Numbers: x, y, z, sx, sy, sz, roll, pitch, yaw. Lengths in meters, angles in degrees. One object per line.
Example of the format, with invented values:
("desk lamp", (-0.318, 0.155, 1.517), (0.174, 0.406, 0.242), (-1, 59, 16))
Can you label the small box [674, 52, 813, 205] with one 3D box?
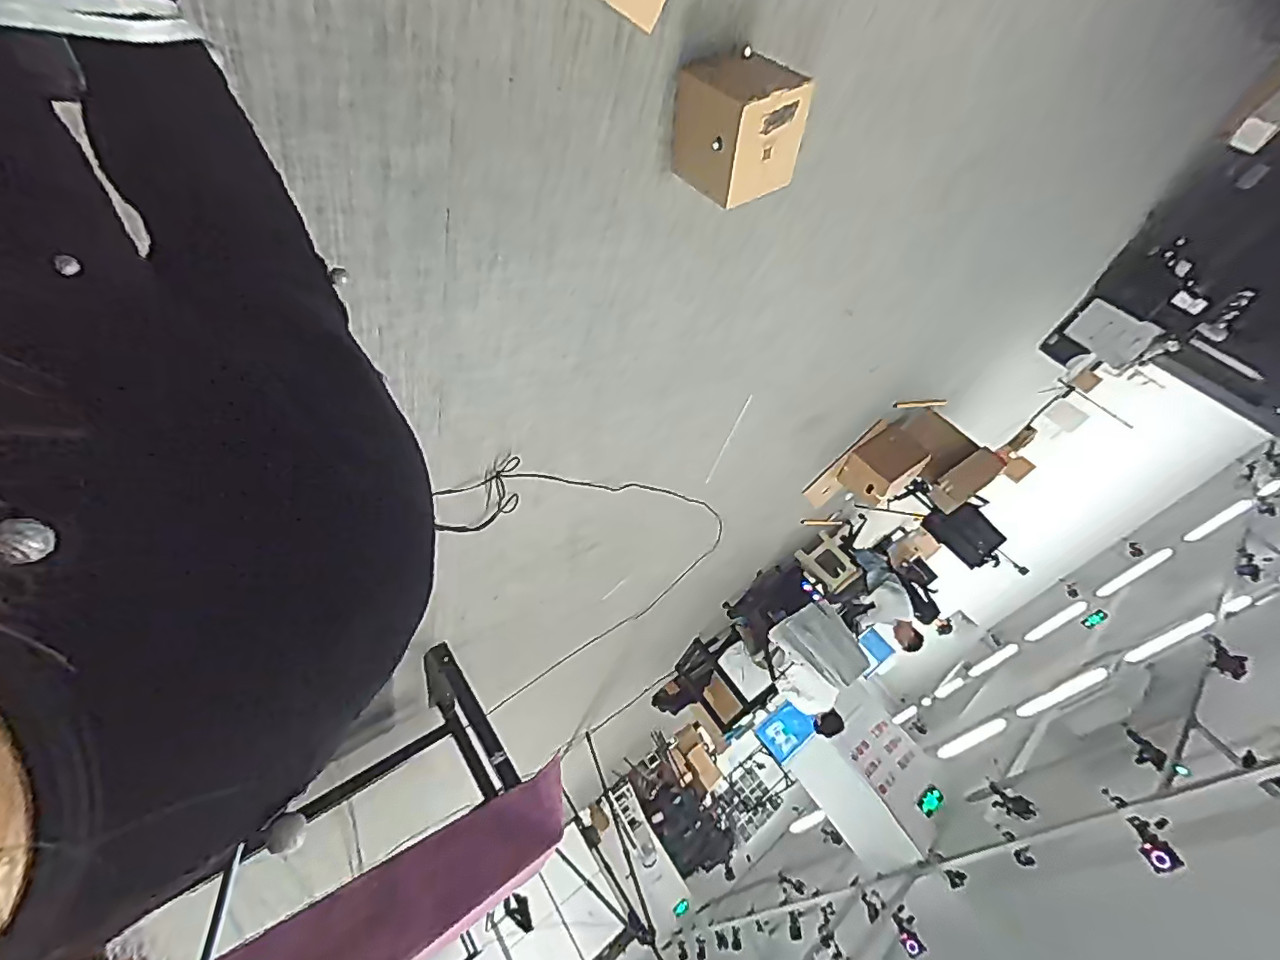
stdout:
("small box", (0.177, -0.643, 0.982), (0.168, 0.176, 0.179), (-31, 153, -20))

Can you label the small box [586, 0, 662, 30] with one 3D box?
("small box", (-0.053, -0.677, 0.617), (0.168, 0.176, 0.179), (-10, 140, -47))
